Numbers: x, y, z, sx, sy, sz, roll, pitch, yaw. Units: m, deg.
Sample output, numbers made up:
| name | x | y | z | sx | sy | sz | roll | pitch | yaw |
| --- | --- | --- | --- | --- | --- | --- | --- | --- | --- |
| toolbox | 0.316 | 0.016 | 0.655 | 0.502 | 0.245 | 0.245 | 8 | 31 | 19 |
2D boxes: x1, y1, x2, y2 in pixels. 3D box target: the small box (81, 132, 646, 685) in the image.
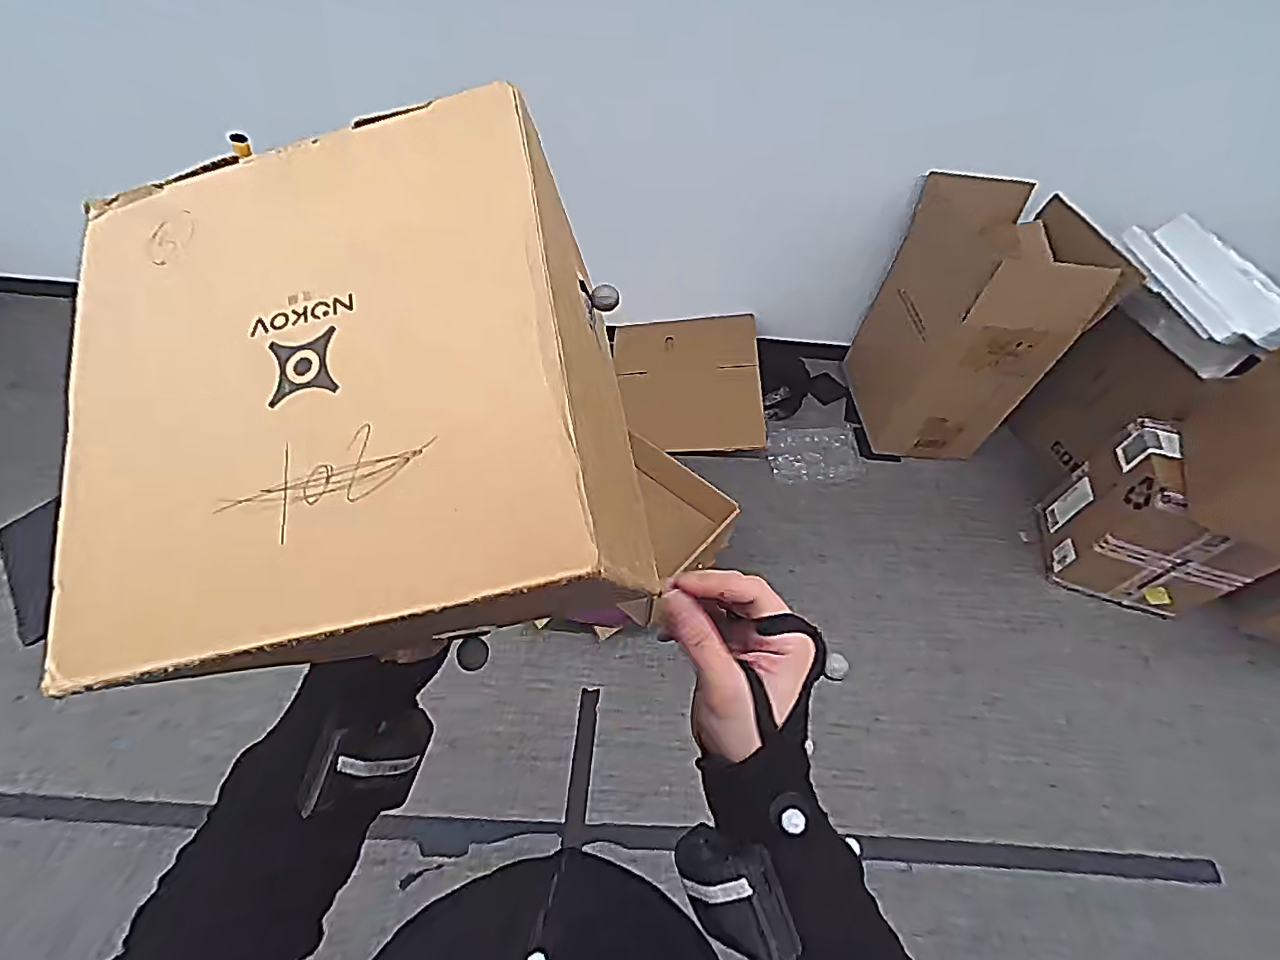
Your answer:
| name | x | y | z | sx | sy | sz | roll | pitch | yaw |
| --- | --- | --- | --- | --- | --- | --- | --- | --- | --- |
| small box | -0.099 | -0.013 | 0.262 | 0.168 | 0.176 | 0.179 | -13 | 75 | 4 |
